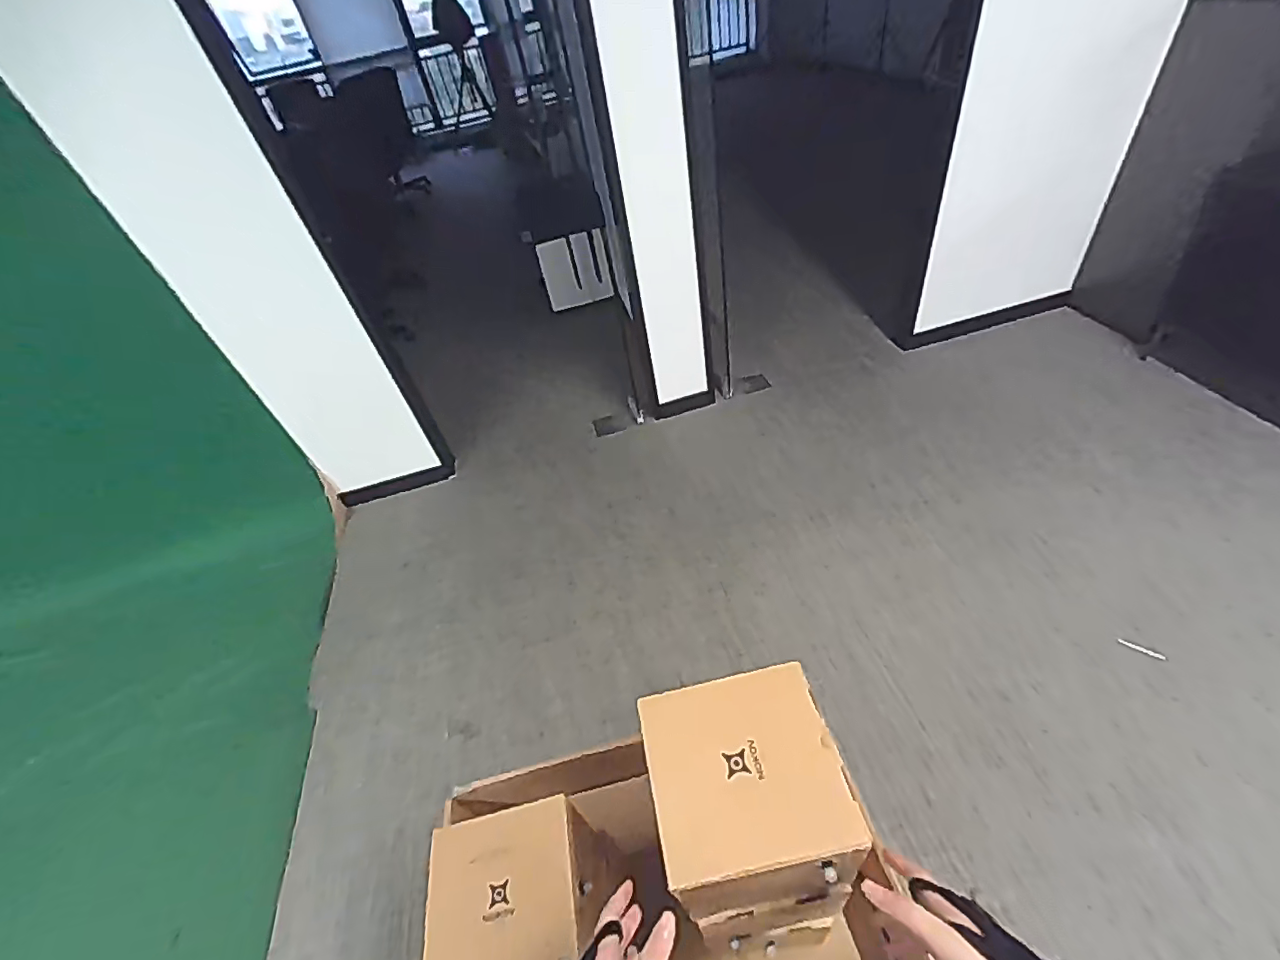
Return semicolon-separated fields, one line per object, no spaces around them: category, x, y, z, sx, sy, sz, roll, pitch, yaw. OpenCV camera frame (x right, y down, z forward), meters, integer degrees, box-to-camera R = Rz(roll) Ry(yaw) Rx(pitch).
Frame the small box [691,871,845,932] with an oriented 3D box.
small box;0.135;0.434;0.671;0.168;0.176;0.179;-12;43;0

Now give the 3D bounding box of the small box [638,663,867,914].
small box;0.106;0.320;0.558;0.179;0.176;0.168;-12;44;-1

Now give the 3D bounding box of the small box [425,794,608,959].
small box;-0.141;0.514;0.651;0.168;0.176;0.179;-14;44;-2
